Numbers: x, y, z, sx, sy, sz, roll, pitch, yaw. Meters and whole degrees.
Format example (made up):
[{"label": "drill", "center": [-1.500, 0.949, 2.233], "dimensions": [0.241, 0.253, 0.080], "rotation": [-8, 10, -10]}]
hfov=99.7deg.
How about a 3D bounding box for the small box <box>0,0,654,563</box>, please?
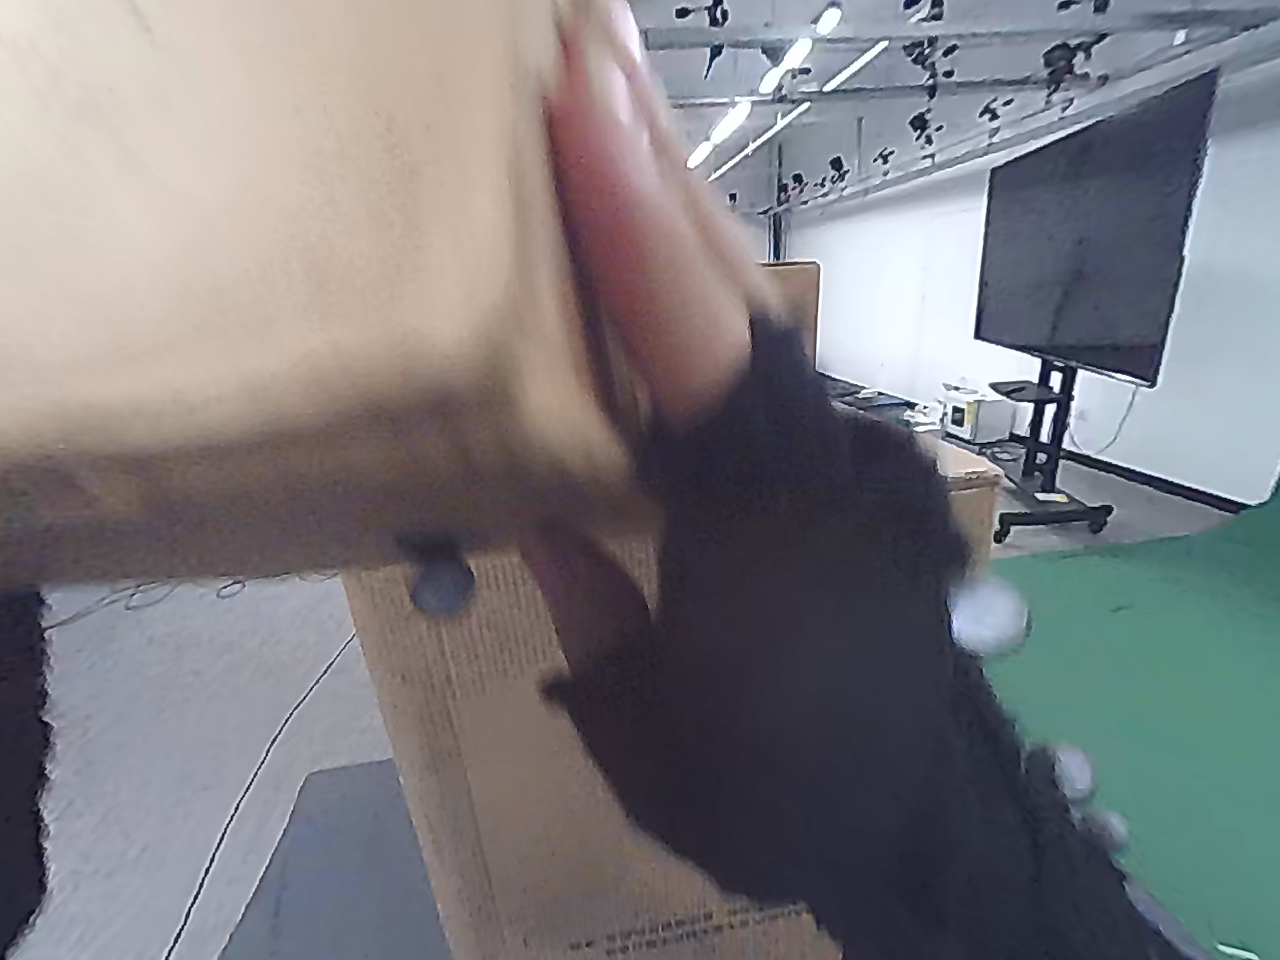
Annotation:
[{"label": "small box", "center": [-0.091, -0.072, 0.139], "dimensions": [0.168, 0.179, 0.176], "rotation": [-7, -9, 6]}]
